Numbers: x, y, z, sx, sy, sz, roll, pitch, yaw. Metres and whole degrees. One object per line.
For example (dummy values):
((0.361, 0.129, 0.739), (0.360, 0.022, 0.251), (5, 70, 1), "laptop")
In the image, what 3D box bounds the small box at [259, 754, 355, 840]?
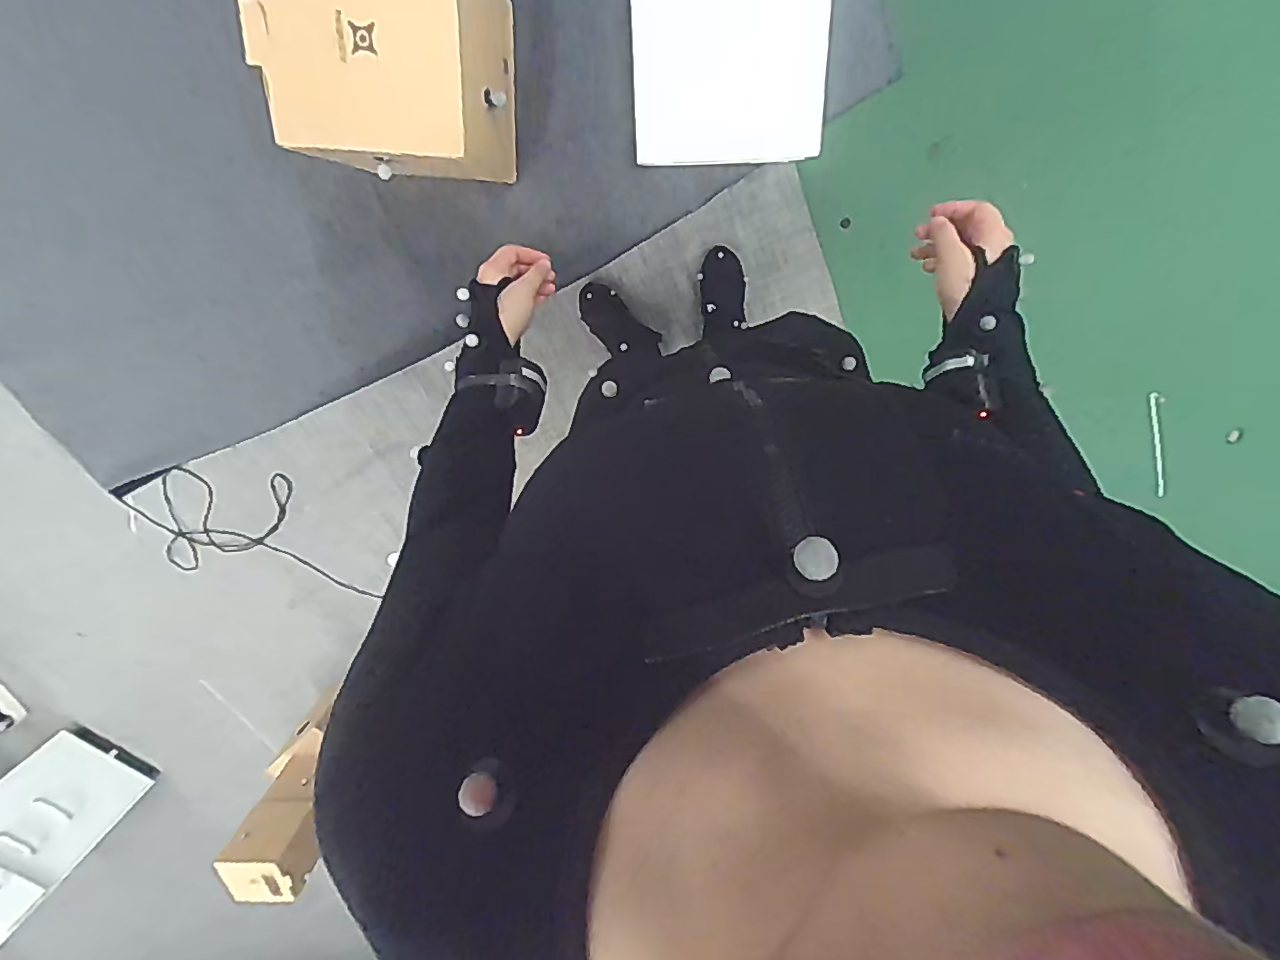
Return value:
((-1.000, 0.960, 1.646), (0.179, 0.176, 0.168), (-3, 114, 3), "small box")

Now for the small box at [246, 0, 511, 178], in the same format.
((-0.227, -0.393, 0.515), (0.179, 0.176, 0.168), (5, 114, 3), "small box")
